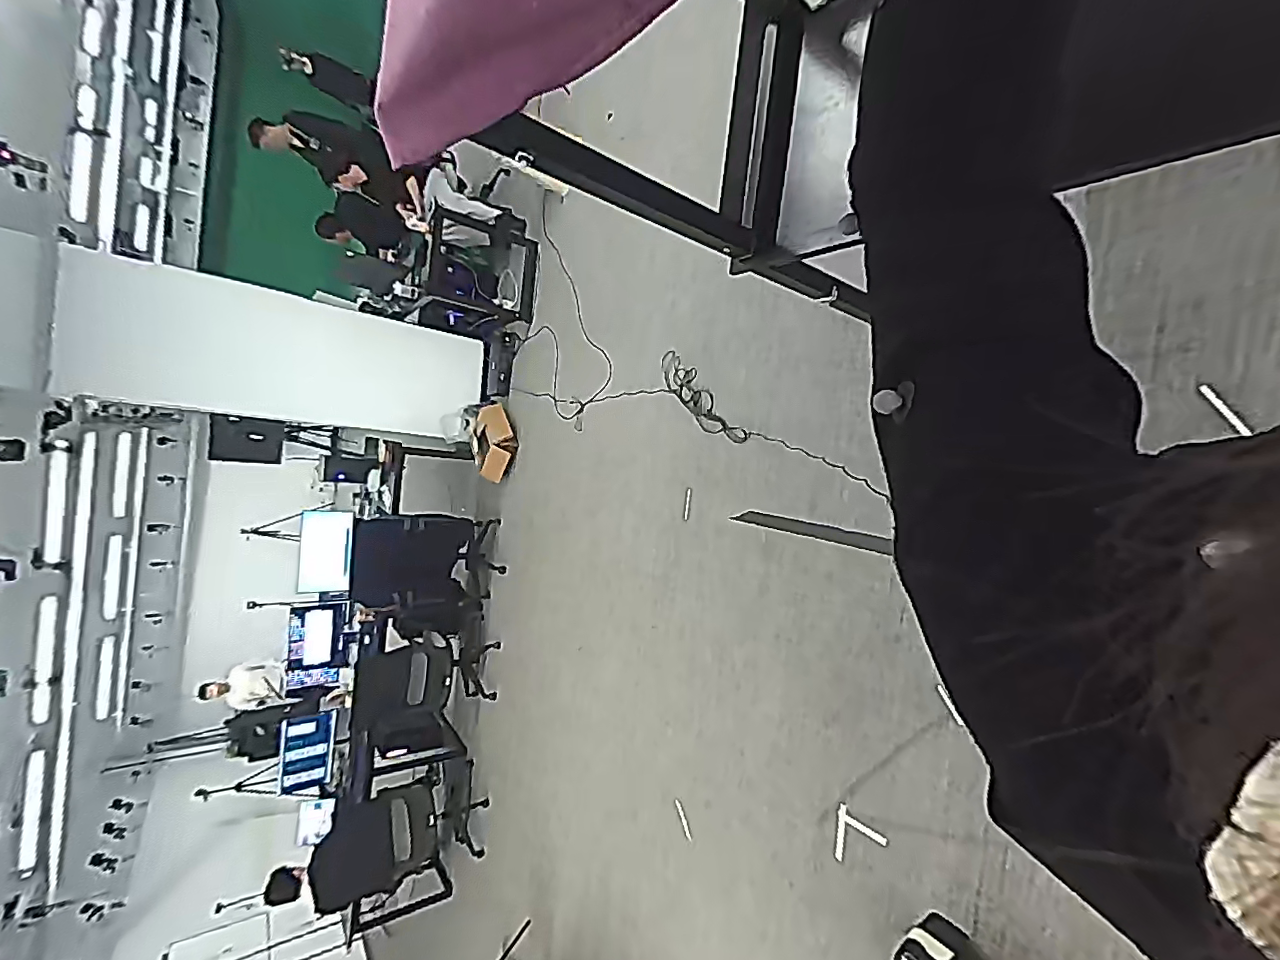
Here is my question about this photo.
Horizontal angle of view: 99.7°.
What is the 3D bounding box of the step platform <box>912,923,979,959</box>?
[{"bbox_3d":[0.889,1.341,1.120,0.684,0.204,0.286,19,101,52],"label":"step platform"}]
